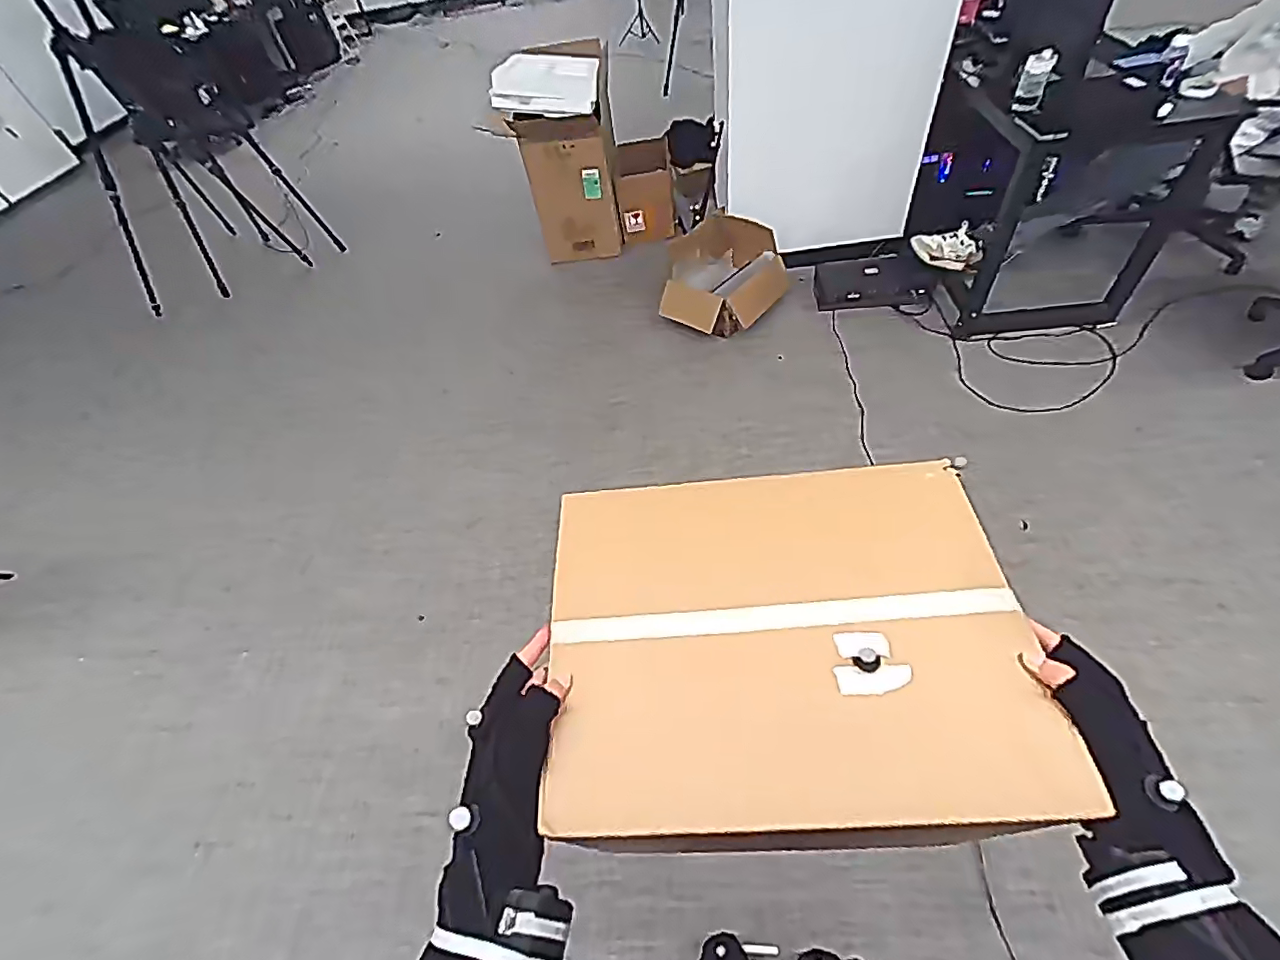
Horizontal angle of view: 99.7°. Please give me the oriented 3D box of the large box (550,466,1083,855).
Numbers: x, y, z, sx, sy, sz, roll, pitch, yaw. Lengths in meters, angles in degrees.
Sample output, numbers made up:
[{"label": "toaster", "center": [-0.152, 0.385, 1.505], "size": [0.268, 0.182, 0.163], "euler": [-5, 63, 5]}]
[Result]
[{"label": "large box", "center": [0.137, 0.216, 0.609], "size": [0.408, 0.320, 0.320], "euler": [-6, 53, 5]}]
